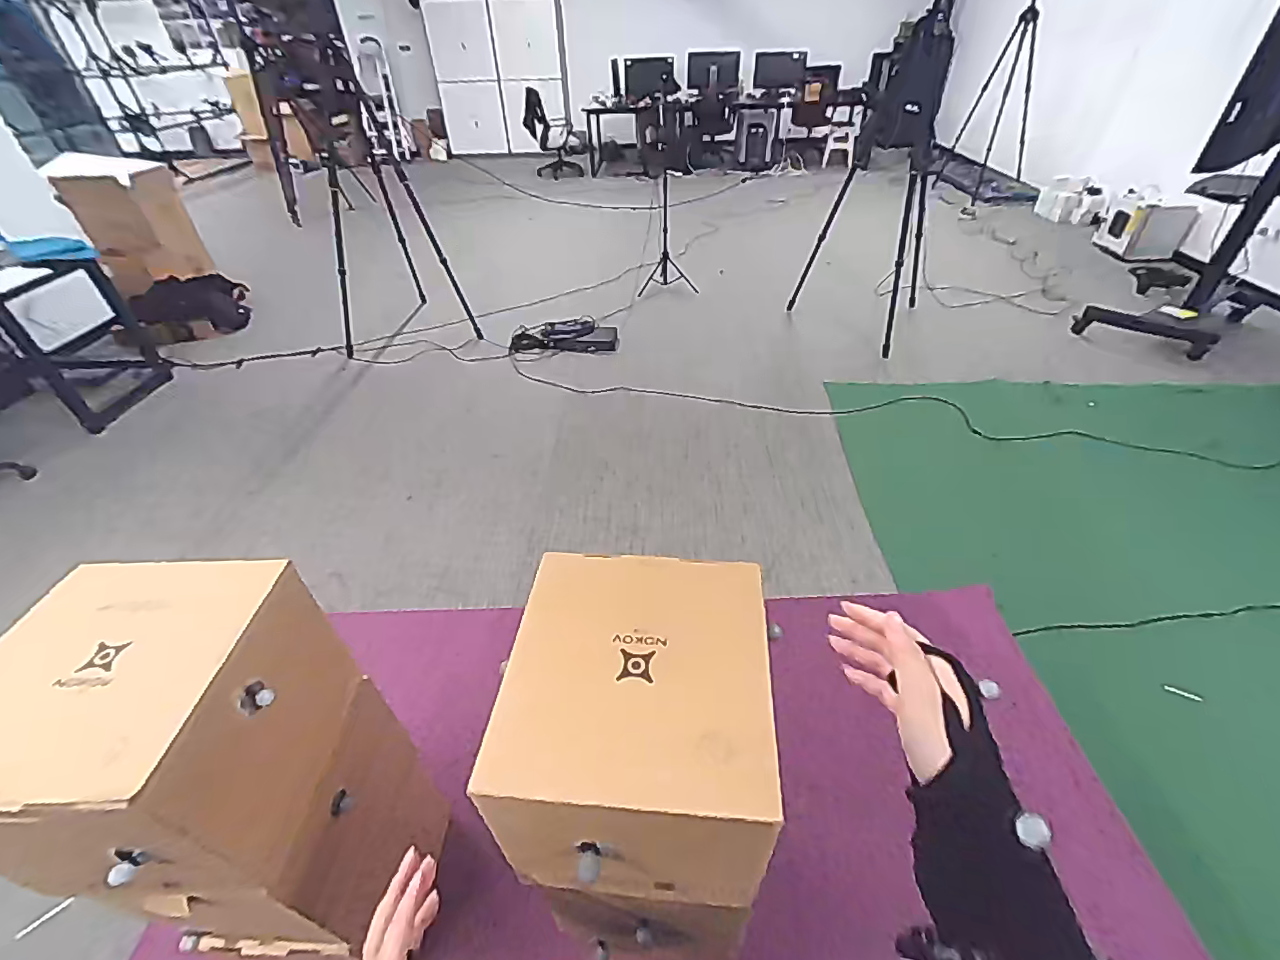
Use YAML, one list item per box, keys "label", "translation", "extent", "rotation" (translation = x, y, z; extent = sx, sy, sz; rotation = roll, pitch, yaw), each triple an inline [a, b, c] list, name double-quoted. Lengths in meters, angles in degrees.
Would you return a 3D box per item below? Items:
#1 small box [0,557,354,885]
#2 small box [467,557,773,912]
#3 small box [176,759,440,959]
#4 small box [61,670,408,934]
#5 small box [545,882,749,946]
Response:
- label: "small box"
  translation: [-0.347, 0.178, 0.404]
  extent: [0.168, 0.176, 0.179]
  rotation: [1, 40, 1]
- label: "small box"
  translation: [0.000, 0.180, 0.392]
  extent: [0.168, 0.176, 0.179]
  rotation: [4, 39, 6]
- label: "small box"
  translation: [-0.346, 0.431, 0.612]
  extent: [0.168, 0.176, 0.179]
  rotation: [2, 41, 2]
- label: "small box"
  translation: [-0.345, 0.300, 0.511]
  extent: [0.168, 0.176, 0.179]
  rotation: [2, 39, 3]
- label: "small box"
  translation: [0.005, 0.298, 0.505]
  extent: [0.168, 0.176, 0.179]
  rotation: [2, 40, 4]
